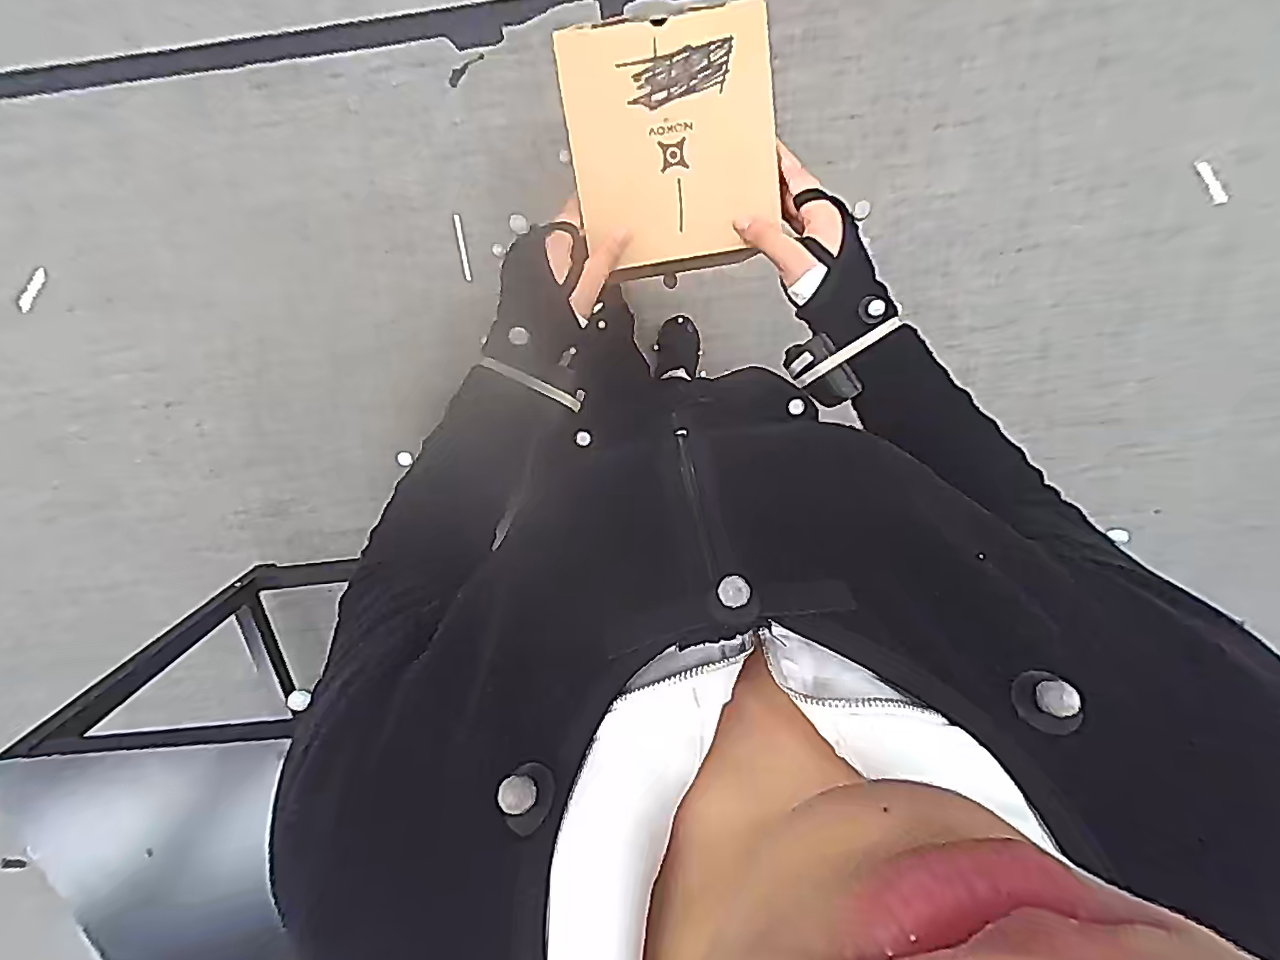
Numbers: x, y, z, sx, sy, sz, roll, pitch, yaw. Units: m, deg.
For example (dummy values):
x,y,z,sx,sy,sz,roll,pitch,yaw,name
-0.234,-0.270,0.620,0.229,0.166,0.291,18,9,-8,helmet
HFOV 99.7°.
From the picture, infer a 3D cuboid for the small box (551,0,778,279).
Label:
x,y,z,sx,sy,sz,roll,pitch,yaw,name
0.021,-0.297,0.507,0.168,0.176,0.179,-9,106,1,small box
